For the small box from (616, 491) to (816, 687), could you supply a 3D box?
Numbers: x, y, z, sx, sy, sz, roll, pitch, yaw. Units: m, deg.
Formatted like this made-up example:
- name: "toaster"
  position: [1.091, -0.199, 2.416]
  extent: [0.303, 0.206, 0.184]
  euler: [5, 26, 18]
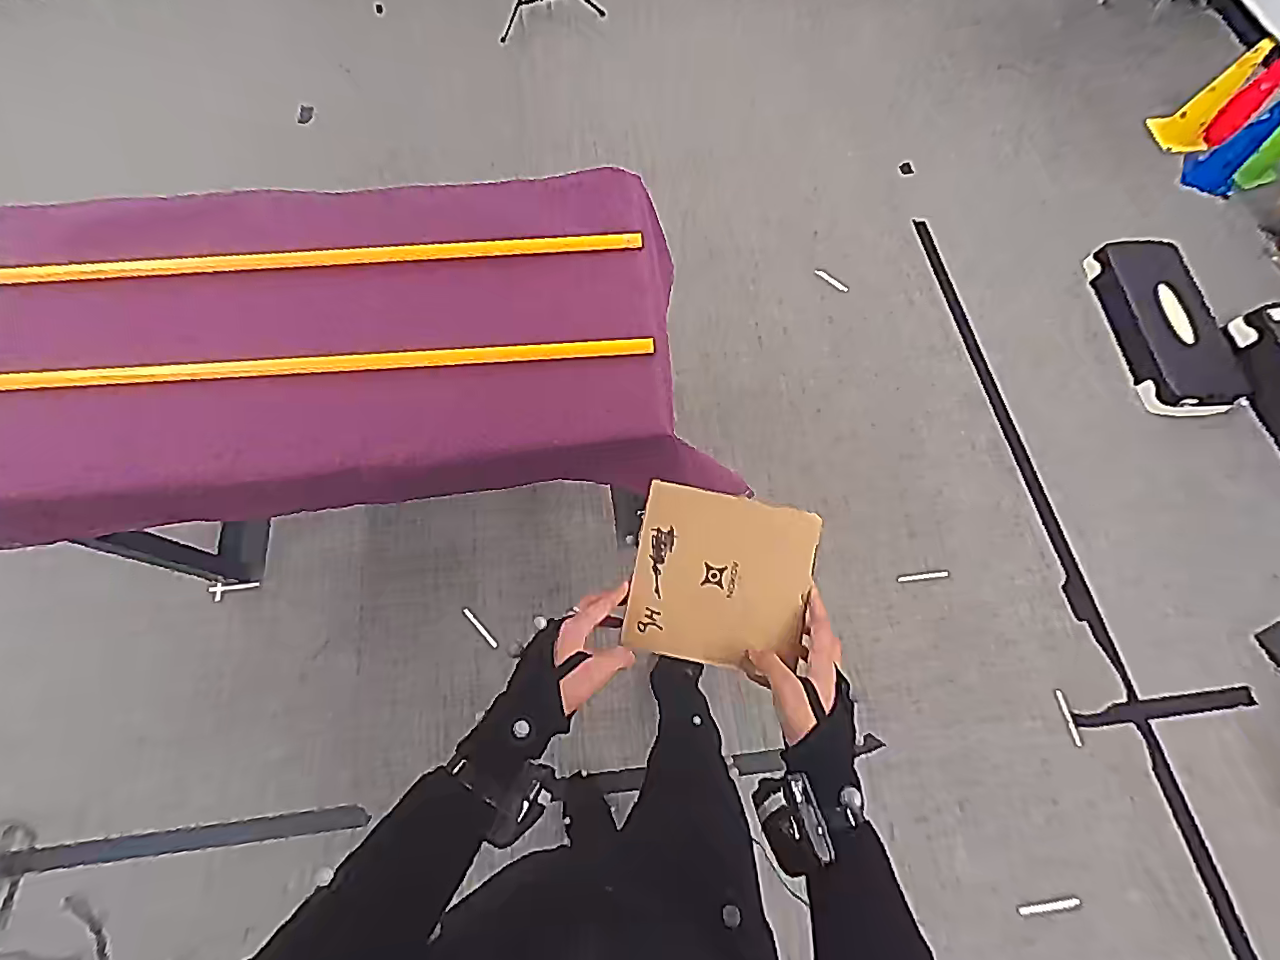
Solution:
- name: "small box"
  position: [0.076, 0.116, 0.618]
  extent: [0.179, 0.176, 0.168]
  euler: [13, 83, 1]
